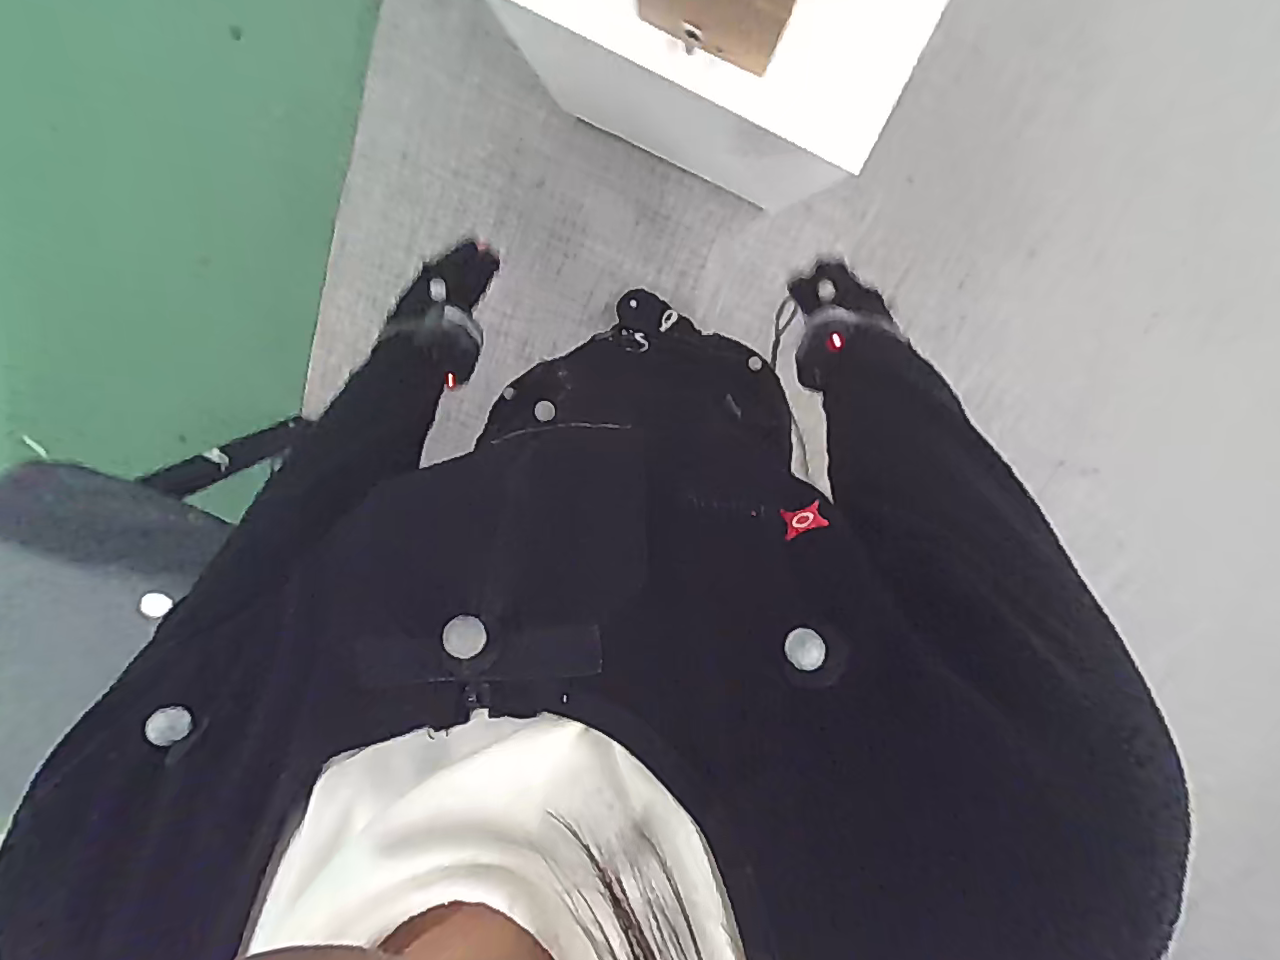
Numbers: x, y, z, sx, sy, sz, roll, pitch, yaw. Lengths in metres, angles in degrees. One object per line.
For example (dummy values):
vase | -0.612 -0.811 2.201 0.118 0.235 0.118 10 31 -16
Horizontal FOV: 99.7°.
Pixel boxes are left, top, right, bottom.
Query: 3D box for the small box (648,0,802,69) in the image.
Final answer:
small box | 0.102 -0.549 0.520 0.168 0.176 0.179 22 113 -3
